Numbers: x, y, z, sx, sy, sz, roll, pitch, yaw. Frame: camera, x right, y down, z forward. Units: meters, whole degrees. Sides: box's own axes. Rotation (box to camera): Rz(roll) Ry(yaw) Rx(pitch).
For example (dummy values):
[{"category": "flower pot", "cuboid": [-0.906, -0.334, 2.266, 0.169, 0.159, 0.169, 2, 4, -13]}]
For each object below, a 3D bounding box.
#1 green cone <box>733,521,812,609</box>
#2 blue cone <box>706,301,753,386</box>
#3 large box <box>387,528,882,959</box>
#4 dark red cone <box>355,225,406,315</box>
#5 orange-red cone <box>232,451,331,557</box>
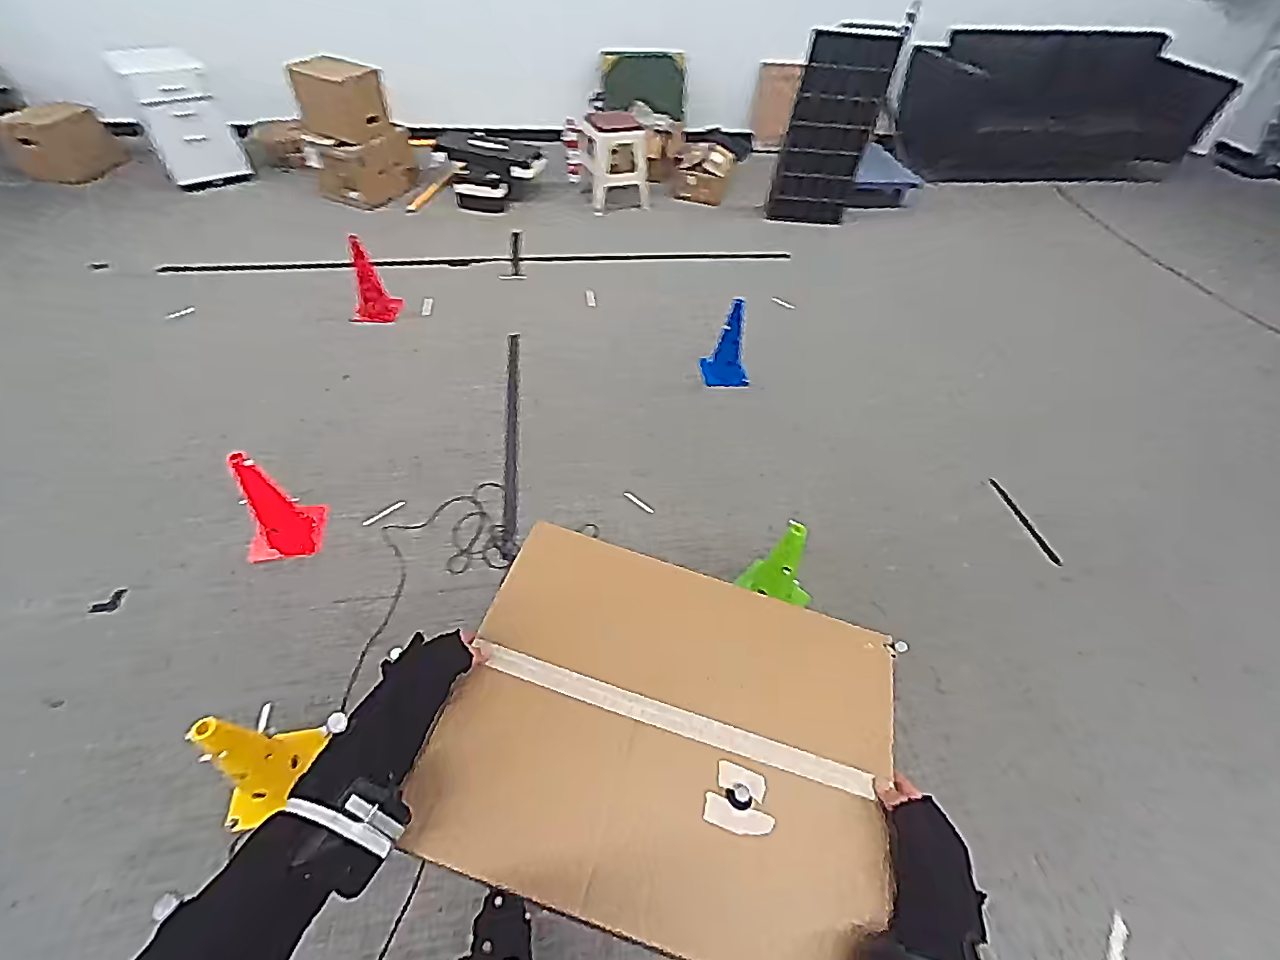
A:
[{"category": "green cone", "cuboid": [0.421, 0.247, 1.559, 0.200, 0.368, 0.202, 38, 55, 25]}, {"category": "blue cone", "cuboid": [0.412, -0.592, 2.318, 0.192, 0.380, 0.193, -1, 49, -7]}, {"category": "large box", "cuboid": [0.004, 0.310, 0.617, 0.408, 0.320, 0.320, 18, 51, 3]}, {"category": "dark red cone", "cuboid": [-1.215, -0.947, 2.443, 0.201, 0.394, 0.202, 1, 49, -5]}, {"category": "orange-red cone", "cuboid": [-1.103, 0.047, 1.612, 0.198, 0.360, 0.199, -6, 51, -9]}]
